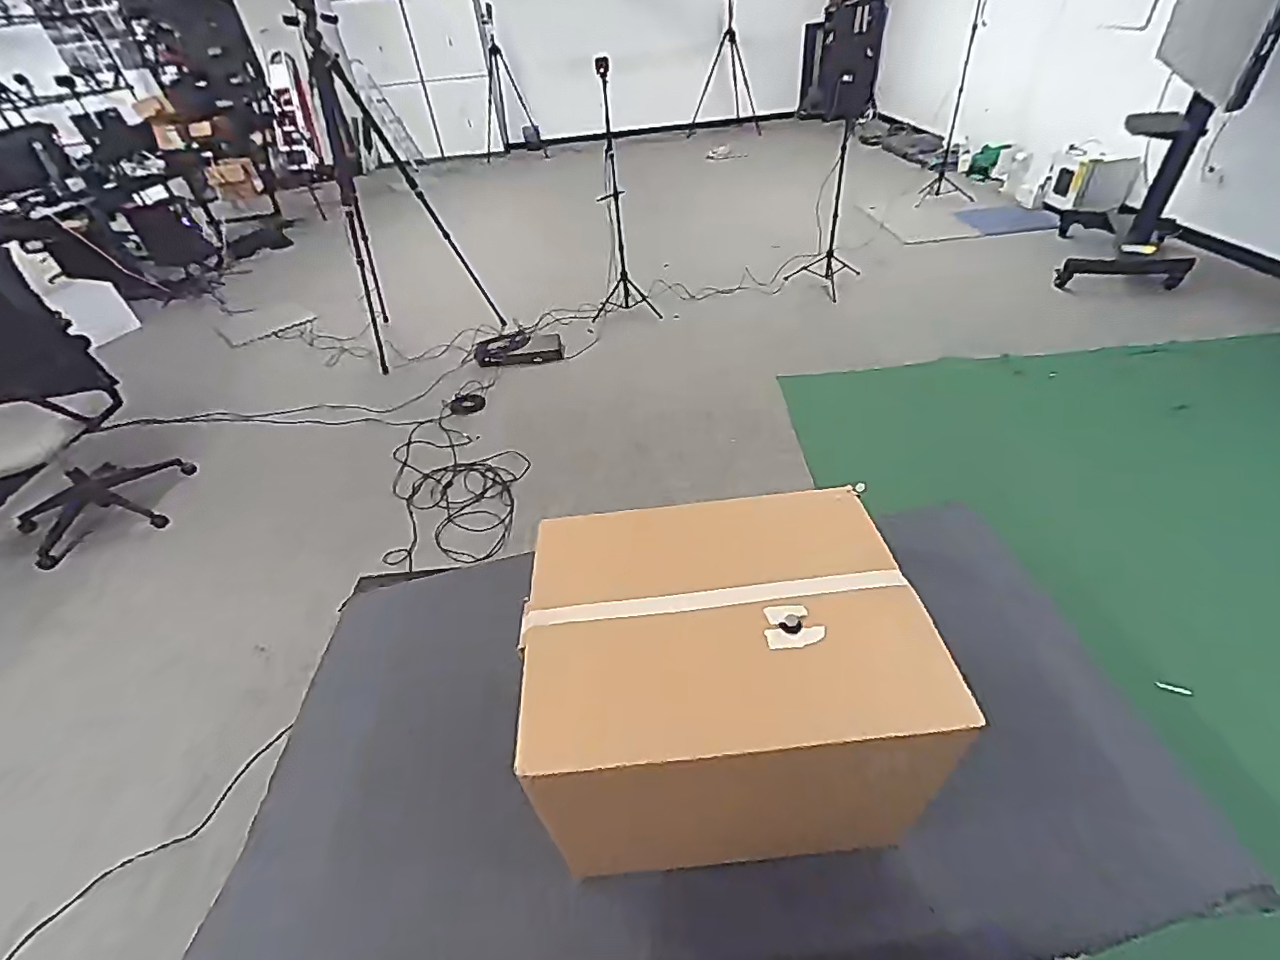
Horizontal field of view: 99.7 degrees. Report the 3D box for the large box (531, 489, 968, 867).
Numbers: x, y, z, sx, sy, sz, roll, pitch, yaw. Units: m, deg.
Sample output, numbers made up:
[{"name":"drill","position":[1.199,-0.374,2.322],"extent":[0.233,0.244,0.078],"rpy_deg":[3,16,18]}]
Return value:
[{"name":"large box","position":[0.097,0.246,0.686],"extent":[0.408,0.320,0.320],"rpy_deg":[-6,41,0]}]
